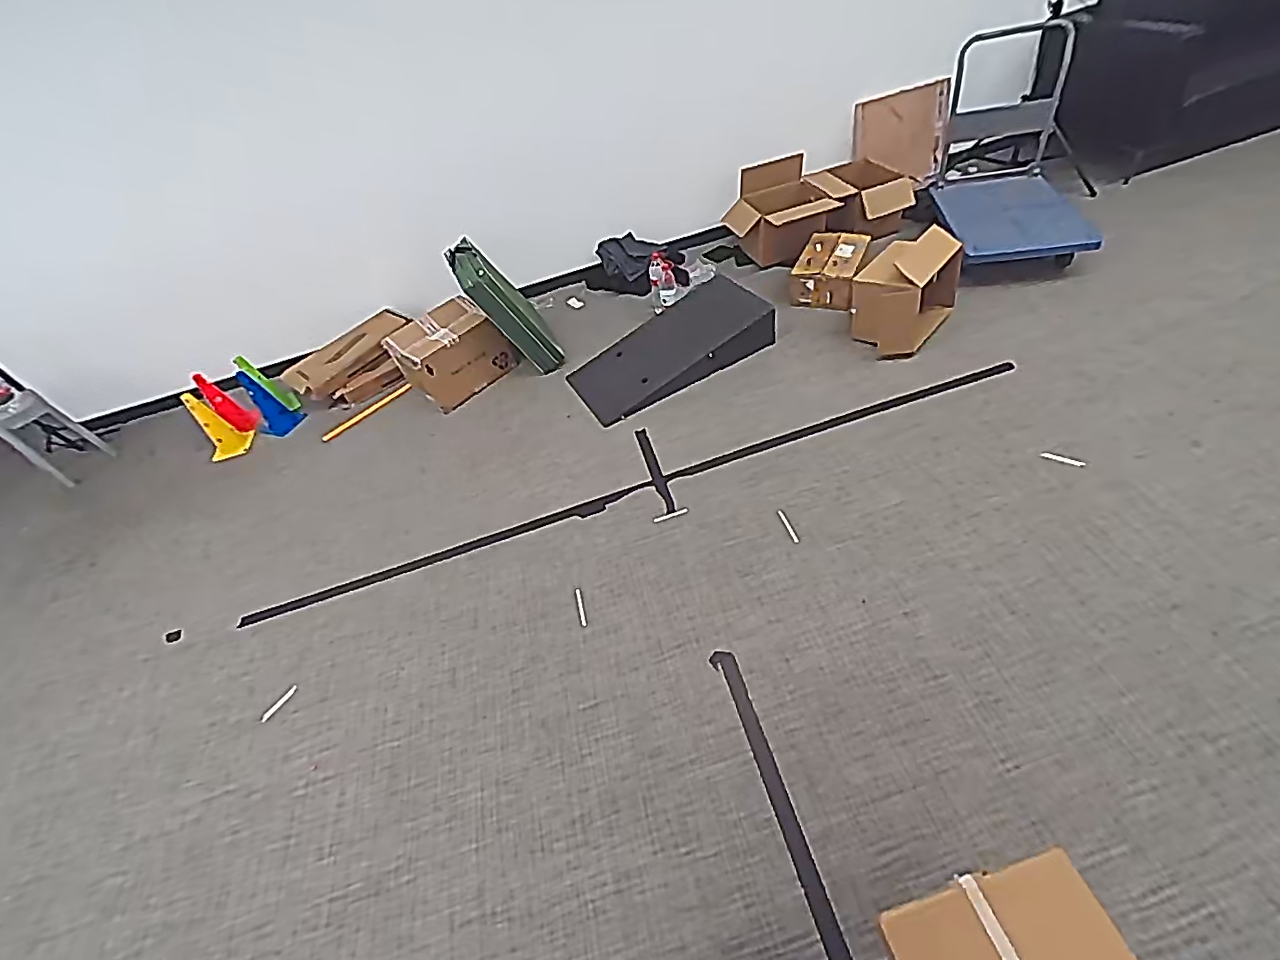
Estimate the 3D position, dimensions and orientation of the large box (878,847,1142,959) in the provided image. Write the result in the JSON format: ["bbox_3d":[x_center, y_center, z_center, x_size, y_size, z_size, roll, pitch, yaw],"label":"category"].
[{"bbox_3d":[0.626,0.865,0.841,0.320,0.320,0.408,-24,48,3],"label":"large box"}]
